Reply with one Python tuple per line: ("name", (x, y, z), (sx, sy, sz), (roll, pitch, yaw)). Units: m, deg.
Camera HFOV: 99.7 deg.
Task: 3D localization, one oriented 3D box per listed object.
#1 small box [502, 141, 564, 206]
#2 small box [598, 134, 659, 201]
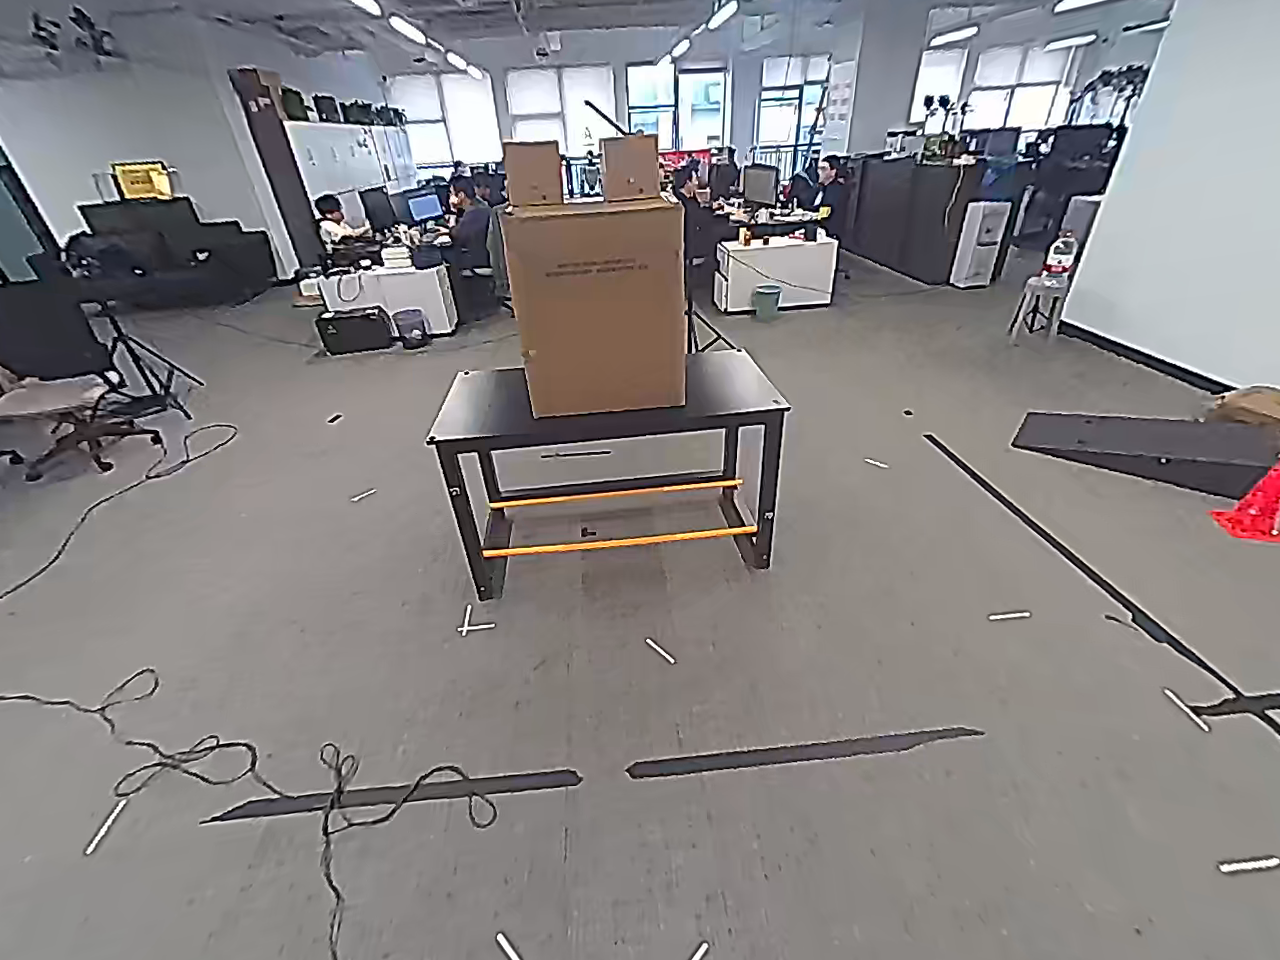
("small box", (-0.331, -0.959, 1.695), (0.168, 0.176, 0.179), (-6, 32, -5))
("small box", (-0.037, -0.971, 1.685), (0.168, 0.176, 0.179), (-8, 32, -5))
